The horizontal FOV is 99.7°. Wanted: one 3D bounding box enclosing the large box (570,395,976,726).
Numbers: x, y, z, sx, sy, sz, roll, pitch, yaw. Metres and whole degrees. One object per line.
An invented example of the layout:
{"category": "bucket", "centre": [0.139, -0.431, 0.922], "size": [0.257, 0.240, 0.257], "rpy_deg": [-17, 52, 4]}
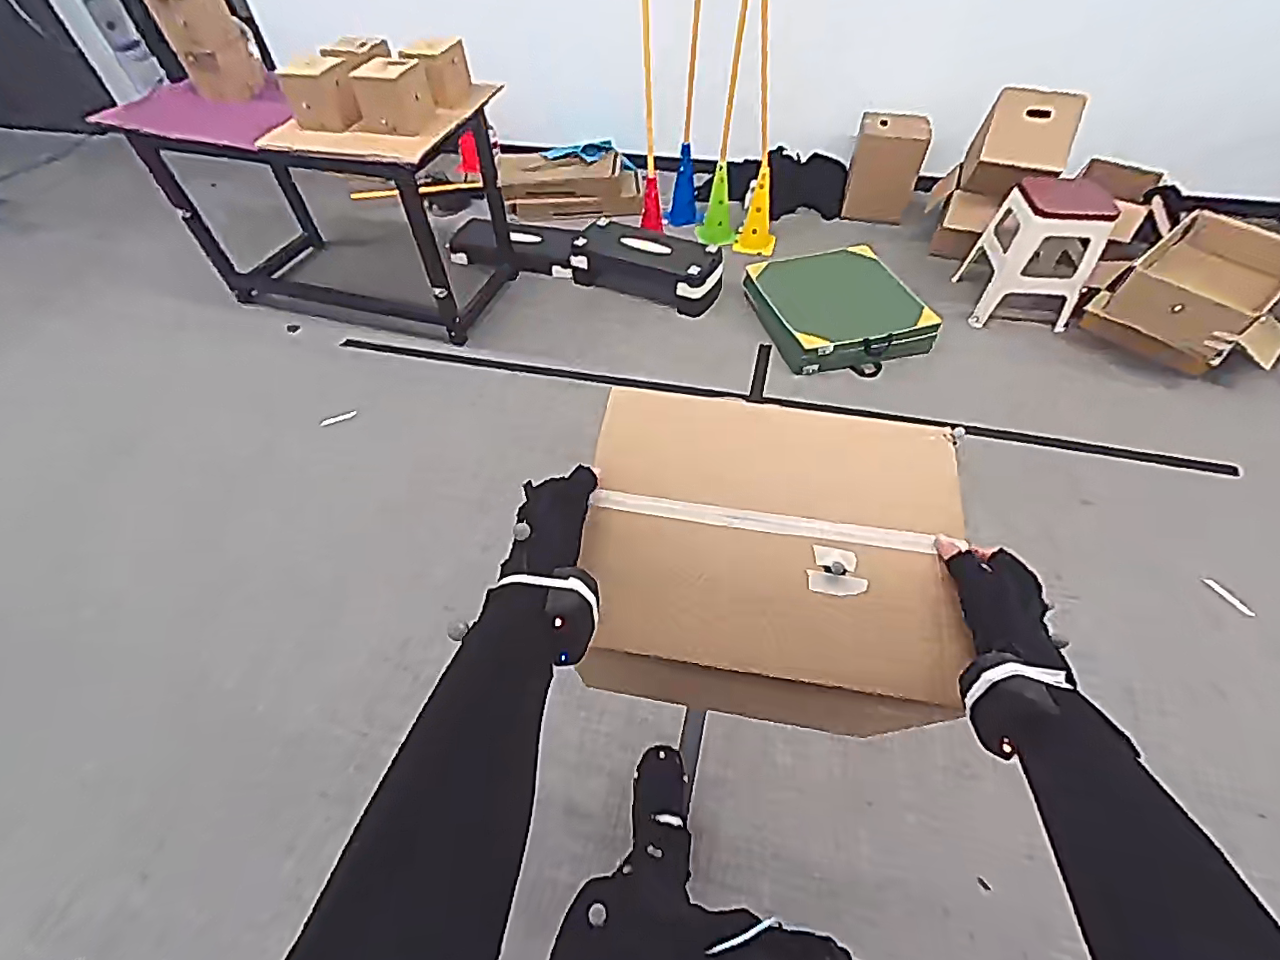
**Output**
{"category": "large box", "centre": [0.146, 0.120, 0.725], "size": [0.408, 0.320, 0.320], "rpy_deg": [9, 62, 5]}
